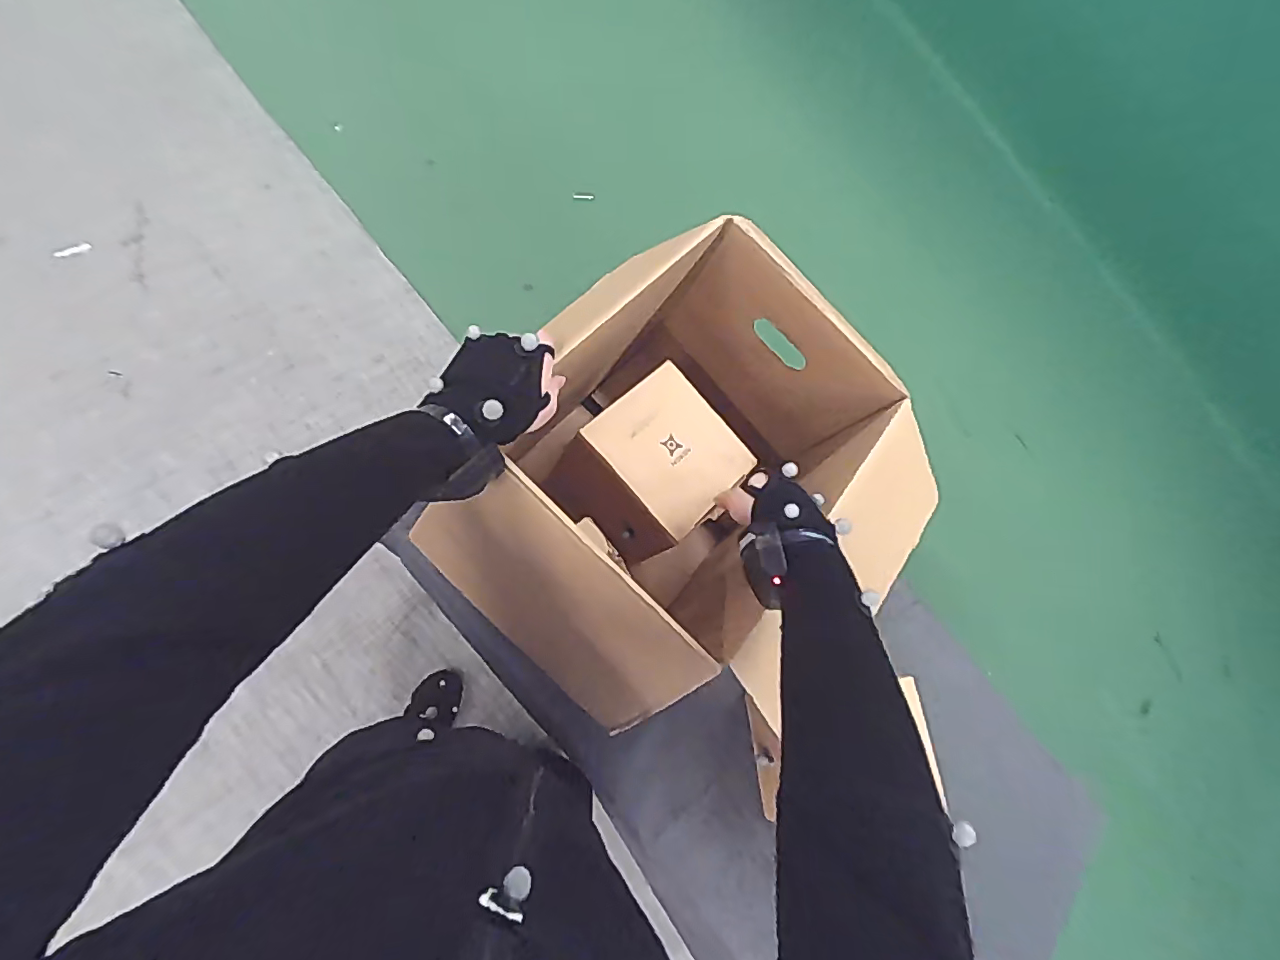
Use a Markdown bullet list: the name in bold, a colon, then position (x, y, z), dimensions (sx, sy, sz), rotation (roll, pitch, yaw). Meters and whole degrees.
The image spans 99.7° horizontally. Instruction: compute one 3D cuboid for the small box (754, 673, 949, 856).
- **small box**: position (0.275, 0.370, 0.739), dimensions (0.168, 0.176, 0.179), rotation (-1, 75, -18)
